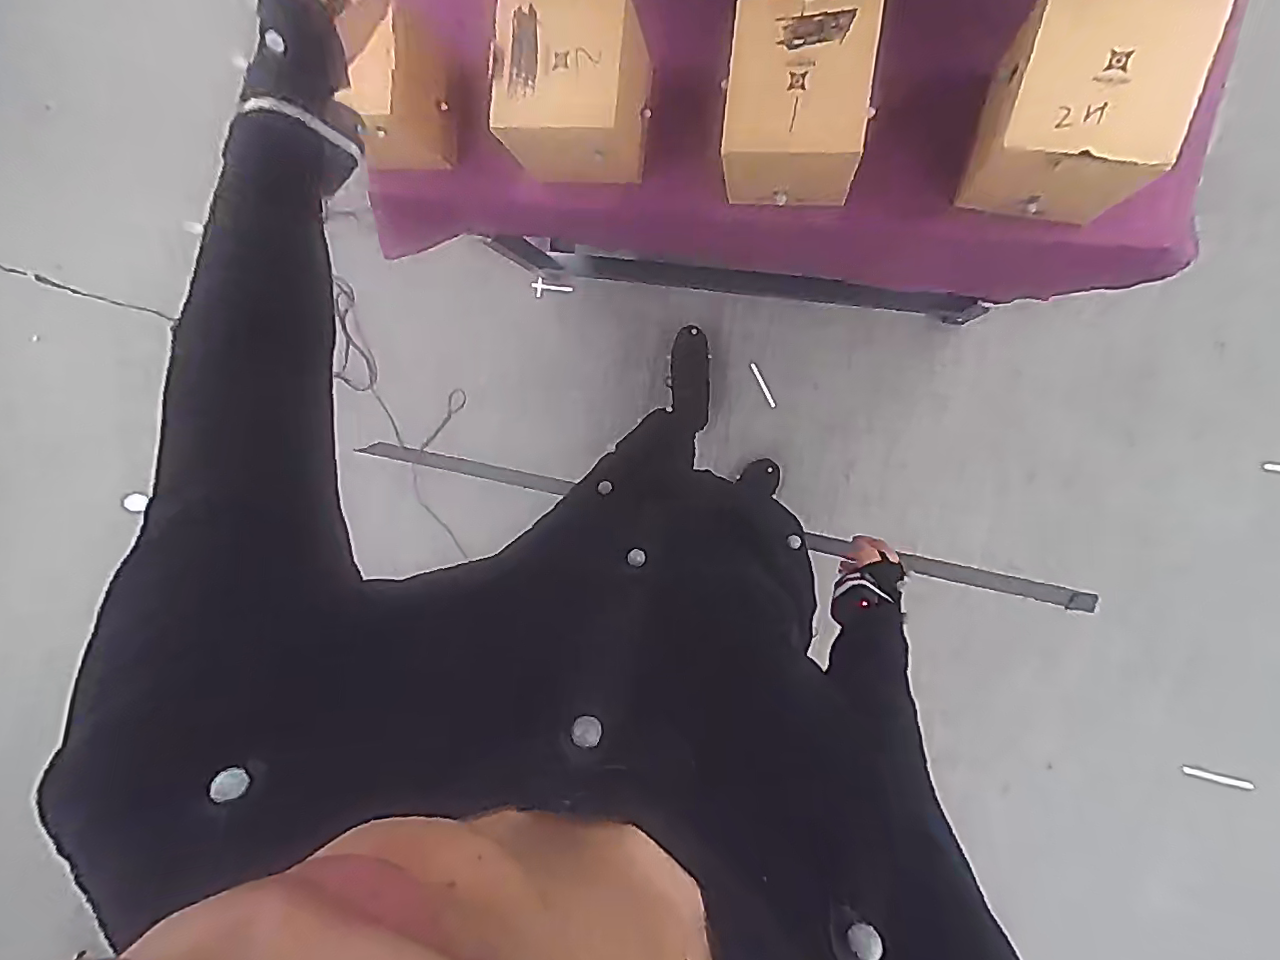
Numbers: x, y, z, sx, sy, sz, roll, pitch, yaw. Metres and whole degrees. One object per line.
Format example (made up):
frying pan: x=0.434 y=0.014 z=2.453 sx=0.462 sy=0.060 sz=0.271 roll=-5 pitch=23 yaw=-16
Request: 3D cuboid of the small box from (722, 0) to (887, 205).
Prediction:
small box: x=0.204 y=-0.481 z=0.700 sx=0.168 sy=0.176 sz=0.179 roll=8 pitch=99 yaw=13

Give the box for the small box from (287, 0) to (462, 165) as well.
small box: x=-0.399 y=-0.604 z=0.828 sx=0.179 sy=0.176 sz=0.168 roll=6 pitch=98 yaw=11
